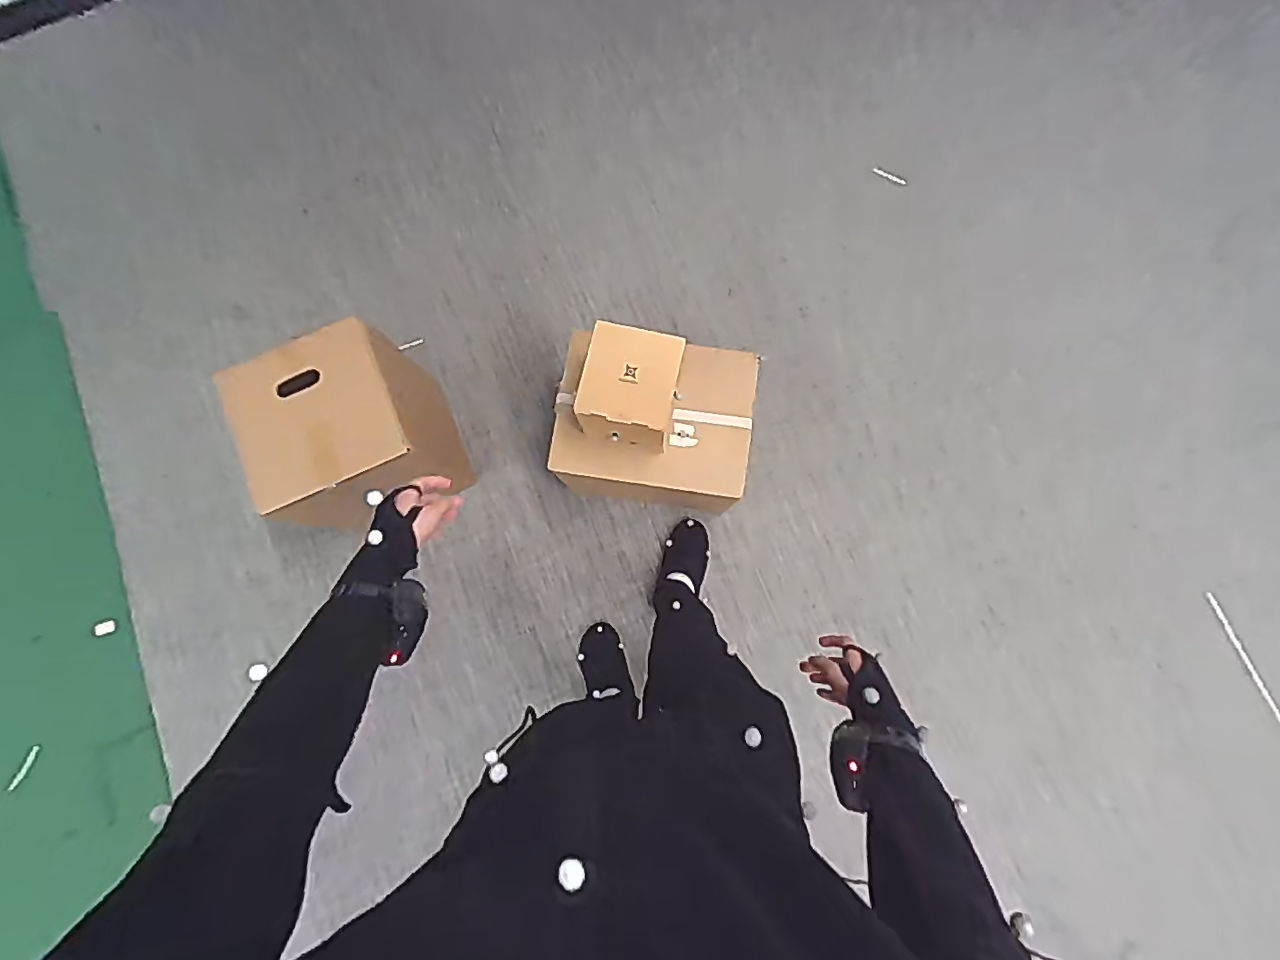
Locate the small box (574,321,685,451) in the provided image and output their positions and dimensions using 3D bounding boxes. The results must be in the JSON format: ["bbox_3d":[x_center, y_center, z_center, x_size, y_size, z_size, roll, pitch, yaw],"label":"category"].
[{"bbox_3d":[-0.017,-0.169,1.019,0.168,0.176,0.179,12,81,4],"label":"small box"}]

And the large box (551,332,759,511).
[{"bbox_3d":[0.033,-0.116,1.255,0.408,0.320,0.320,8,82,2],"label":"large box"}]
